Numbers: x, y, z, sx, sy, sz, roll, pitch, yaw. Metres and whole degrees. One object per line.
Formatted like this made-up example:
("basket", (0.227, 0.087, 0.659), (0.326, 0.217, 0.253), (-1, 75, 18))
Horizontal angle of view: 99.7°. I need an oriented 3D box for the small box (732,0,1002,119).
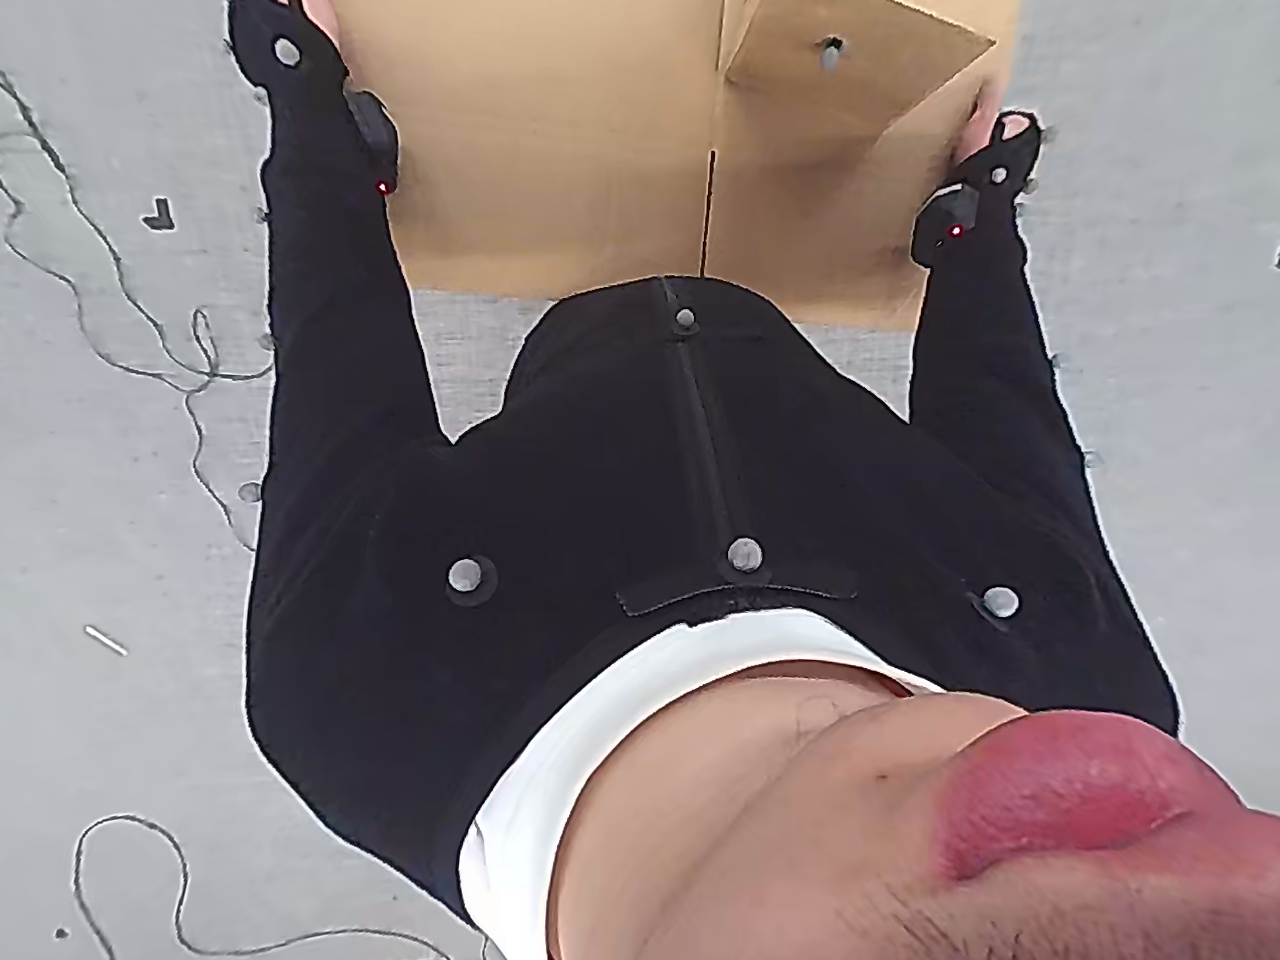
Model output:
("small box", (0.193, -0.443, 0.456), (0.179, 0.176, 0.168), (14, 102, -7))
